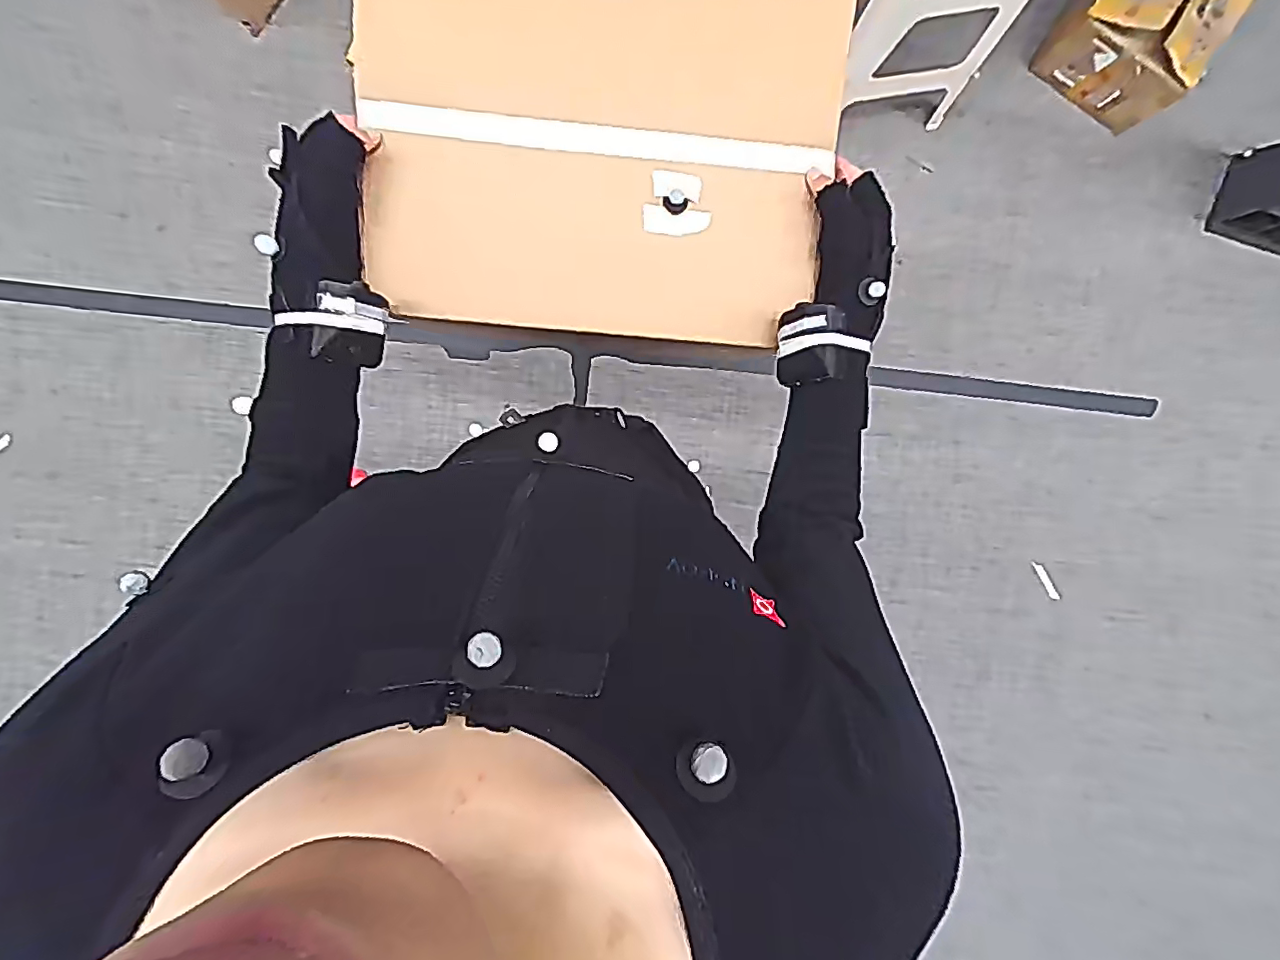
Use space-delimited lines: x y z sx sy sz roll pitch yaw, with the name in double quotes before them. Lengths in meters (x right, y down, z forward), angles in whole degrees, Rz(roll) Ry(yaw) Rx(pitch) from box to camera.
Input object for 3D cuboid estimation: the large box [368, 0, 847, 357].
"large box" -0.041 -0.316 0.614 0.408 0.320 0.320 4 101 -5
